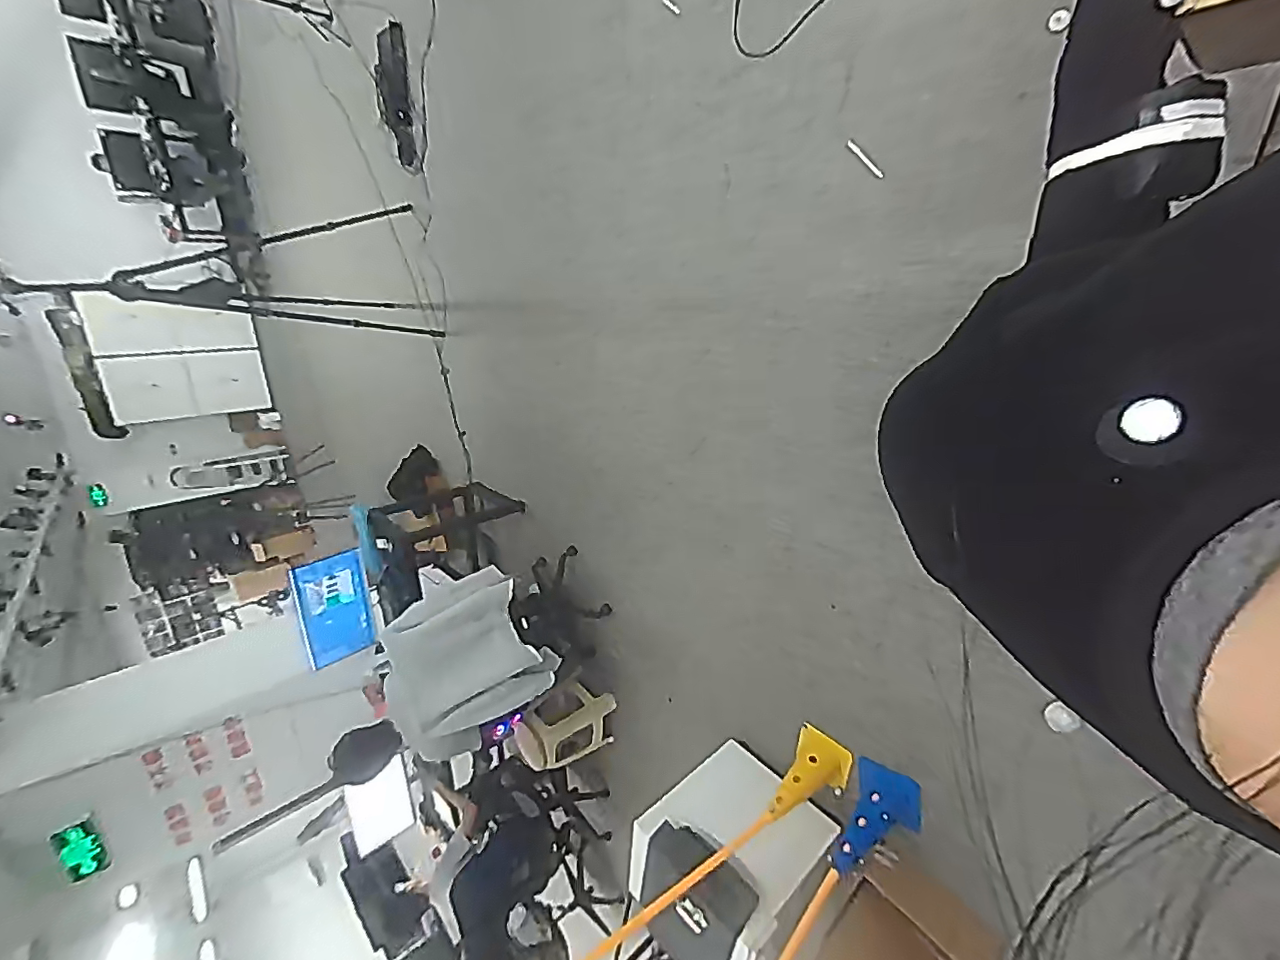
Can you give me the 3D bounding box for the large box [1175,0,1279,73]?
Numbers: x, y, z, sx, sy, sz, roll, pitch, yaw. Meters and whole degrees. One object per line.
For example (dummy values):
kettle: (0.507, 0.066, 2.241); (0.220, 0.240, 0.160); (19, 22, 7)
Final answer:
large box: (0.575, -0.451, 0.251); (0.408, 0.320, 0.320); (16, 120, 44)
